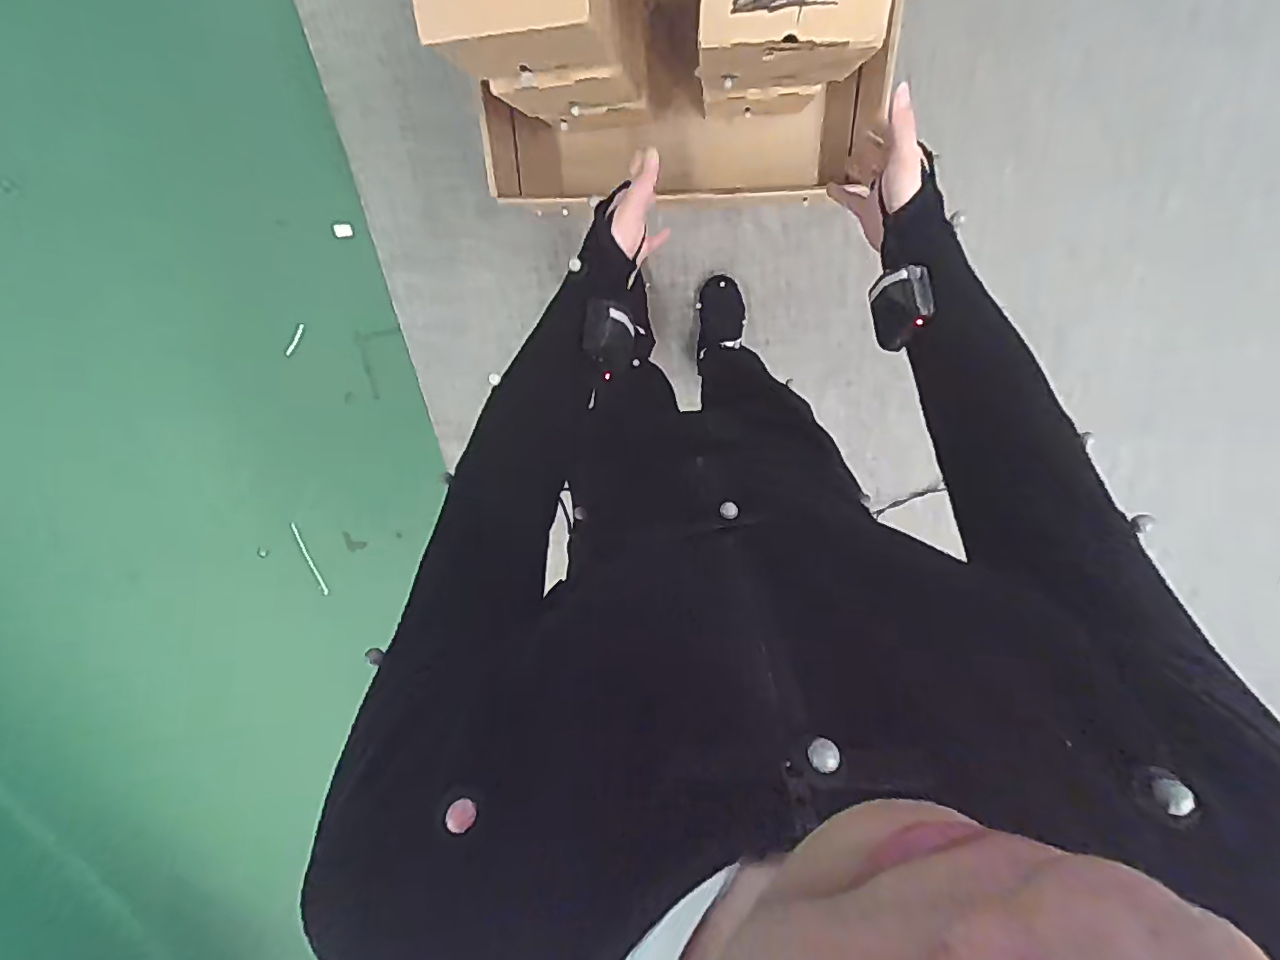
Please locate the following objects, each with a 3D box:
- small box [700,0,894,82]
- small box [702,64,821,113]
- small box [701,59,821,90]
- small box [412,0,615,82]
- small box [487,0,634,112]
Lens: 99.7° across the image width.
[{"bbox_3d":[0.147,-0.496,0.514,0.168,0.176,0.179,4,119,4],"label":"small box"},{"bbox_3d":[0.177,-0.659,0.798,0.168,0.176,0.179,0,119,5],"label":"small box"},{"bbox_3d":[0.161,-0.591,0.649,0.168,0.176,0.179,2,118,5],"label":"small box"},{"bbox_3d":[-0.120,-0.517,0.527,0.168,0.176,0.179,-1,117,7],"label":"small box"},{"bbox_3d":[-0.100,-0.584,0.675,0.168,0.176,0.179,-2,117,7],"label":"small box"}]
